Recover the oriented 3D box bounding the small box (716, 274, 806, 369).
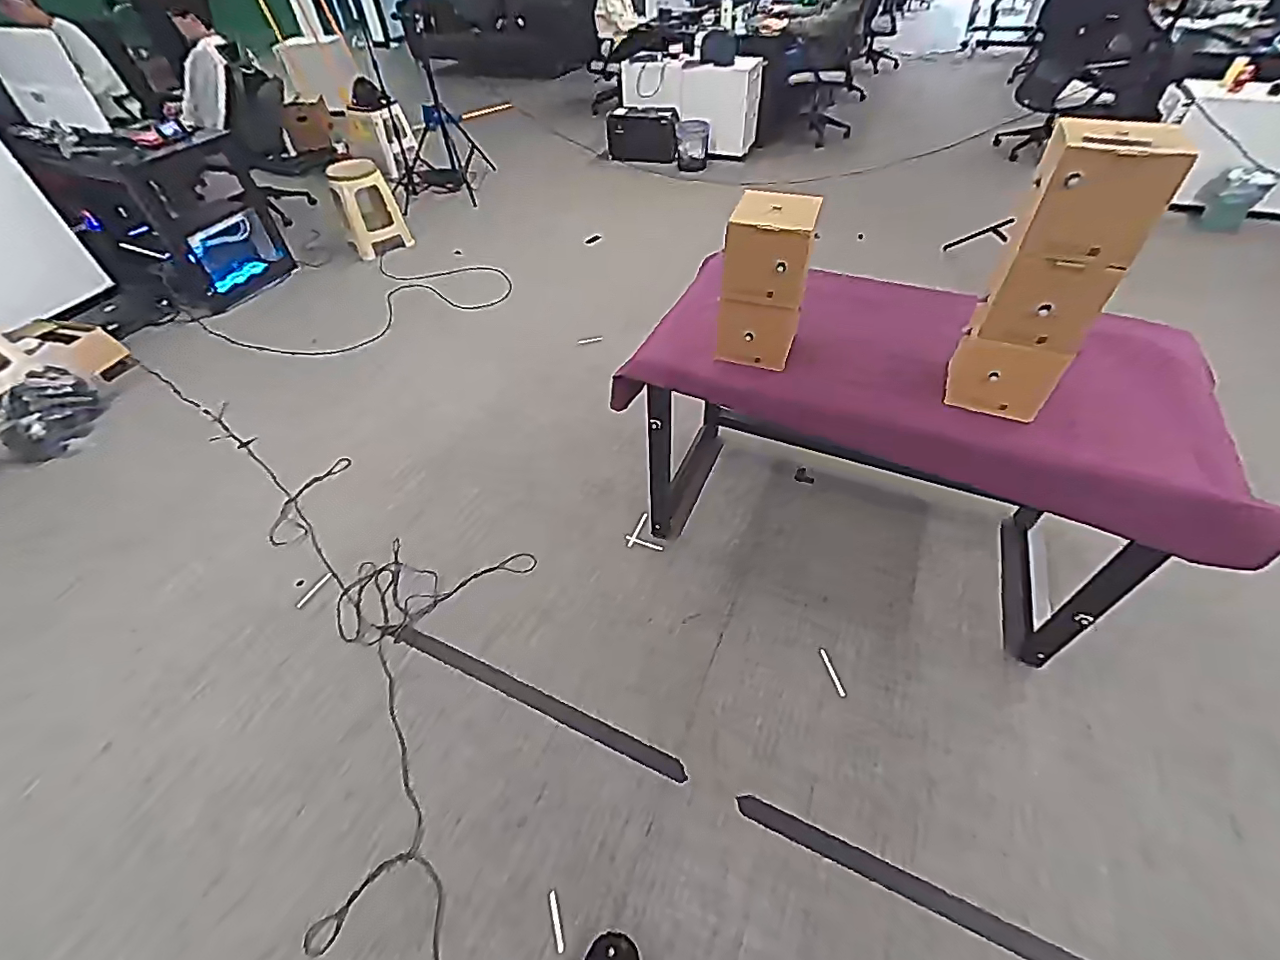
[{"bbox_3d":[0.281,-0.385,1.278,0.168,0.176,0.179,15,49,15],"label":"small box"}]

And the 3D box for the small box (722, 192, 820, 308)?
[{"bbox_3d":[0.276,-0.489,1.153,0.168,0.176,0.179,14,48,13],"label":"small box"}]

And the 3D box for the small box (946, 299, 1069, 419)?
[{"bbox_3d":[0.764,-0.253,1.139,0.168,0.176,0.179,17,50,18],"label":"small box"}]

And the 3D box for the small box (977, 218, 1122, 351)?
[{"bbox_3d":[0.760,-0.367,1.022,0.168,0.176,0.179,18,51,19],"label":"small box"}]
